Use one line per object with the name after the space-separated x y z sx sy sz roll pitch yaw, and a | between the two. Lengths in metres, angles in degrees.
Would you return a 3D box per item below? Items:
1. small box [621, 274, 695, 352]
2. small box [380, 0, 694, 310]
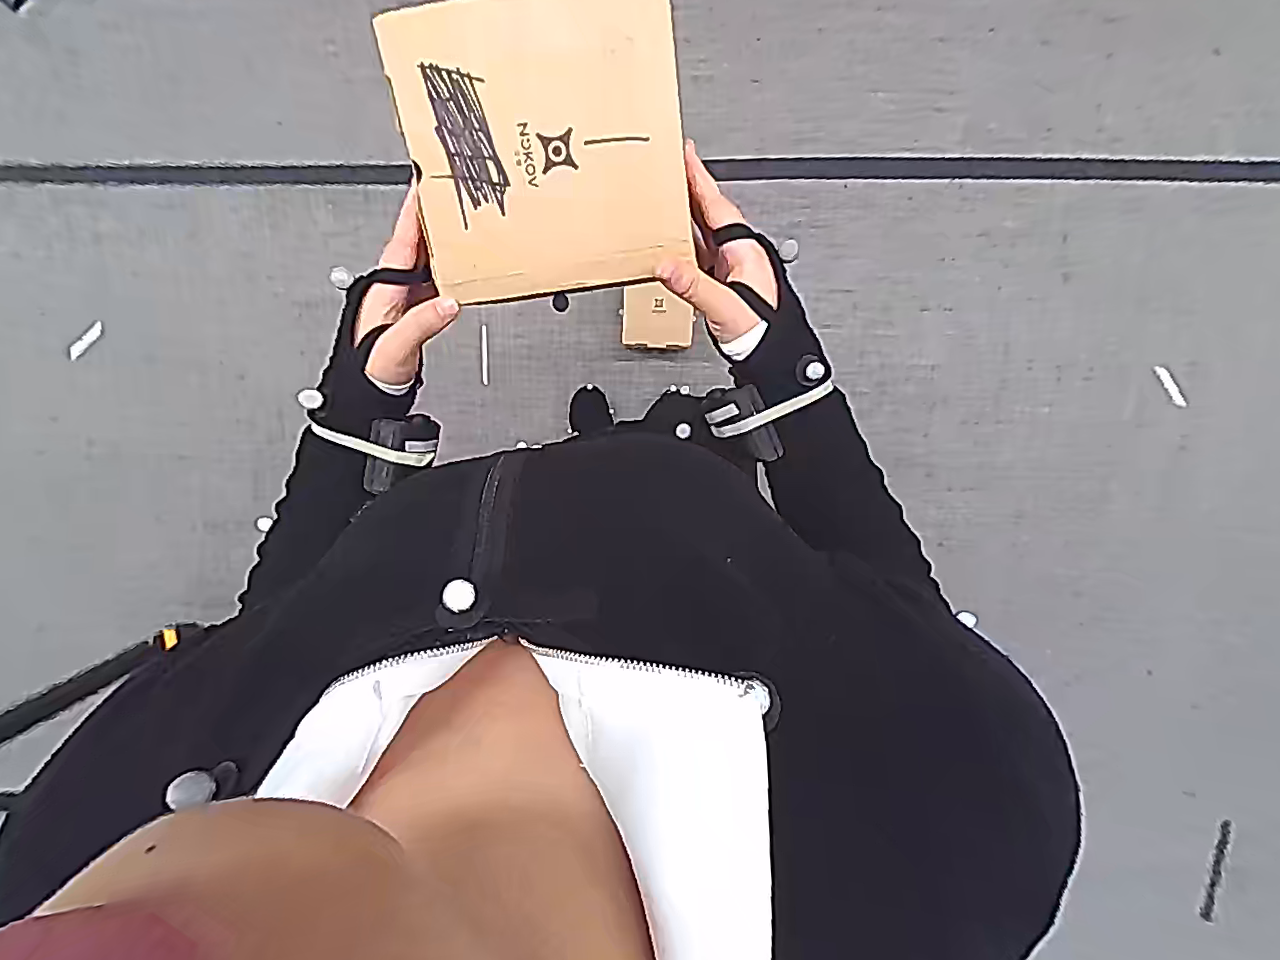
0.043 -0.410 1.337 0.168 0.176 0.179 3 102 1 | small box
-0.057 -0.225 0.414 0.179 0.176 0.168 -7 109 3 | small box
